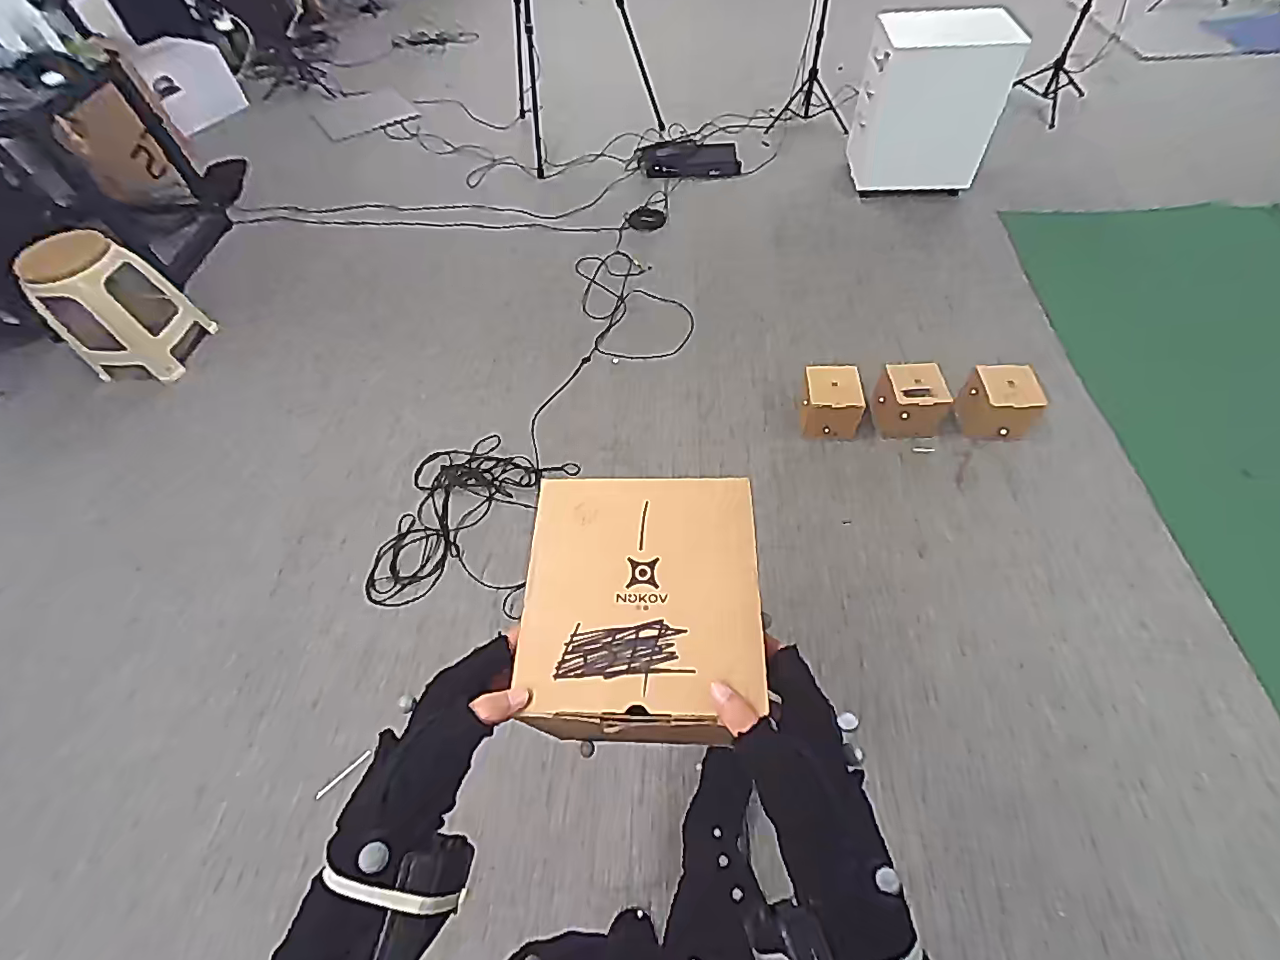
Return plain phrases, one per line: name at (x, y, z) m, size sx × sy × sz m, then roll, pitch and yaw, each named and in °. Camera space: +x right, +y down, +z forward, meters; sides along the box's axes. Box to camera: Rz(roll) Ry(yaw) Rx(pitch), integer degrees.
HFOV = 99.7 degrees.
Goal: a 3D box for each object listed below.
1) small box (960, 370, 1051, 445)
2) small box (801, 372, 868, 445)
small box at (1.164, -0.232, 1.742) m, size 0.168 × 0.176 × 0.179 m, roll 1°, pitch 56°, yaw 6°
small box at (0.636, -0.236, 1.788) m, size 0.168 × 0.176 × 0.179 m, roll 1°, pitch 56°, yaw 6°
